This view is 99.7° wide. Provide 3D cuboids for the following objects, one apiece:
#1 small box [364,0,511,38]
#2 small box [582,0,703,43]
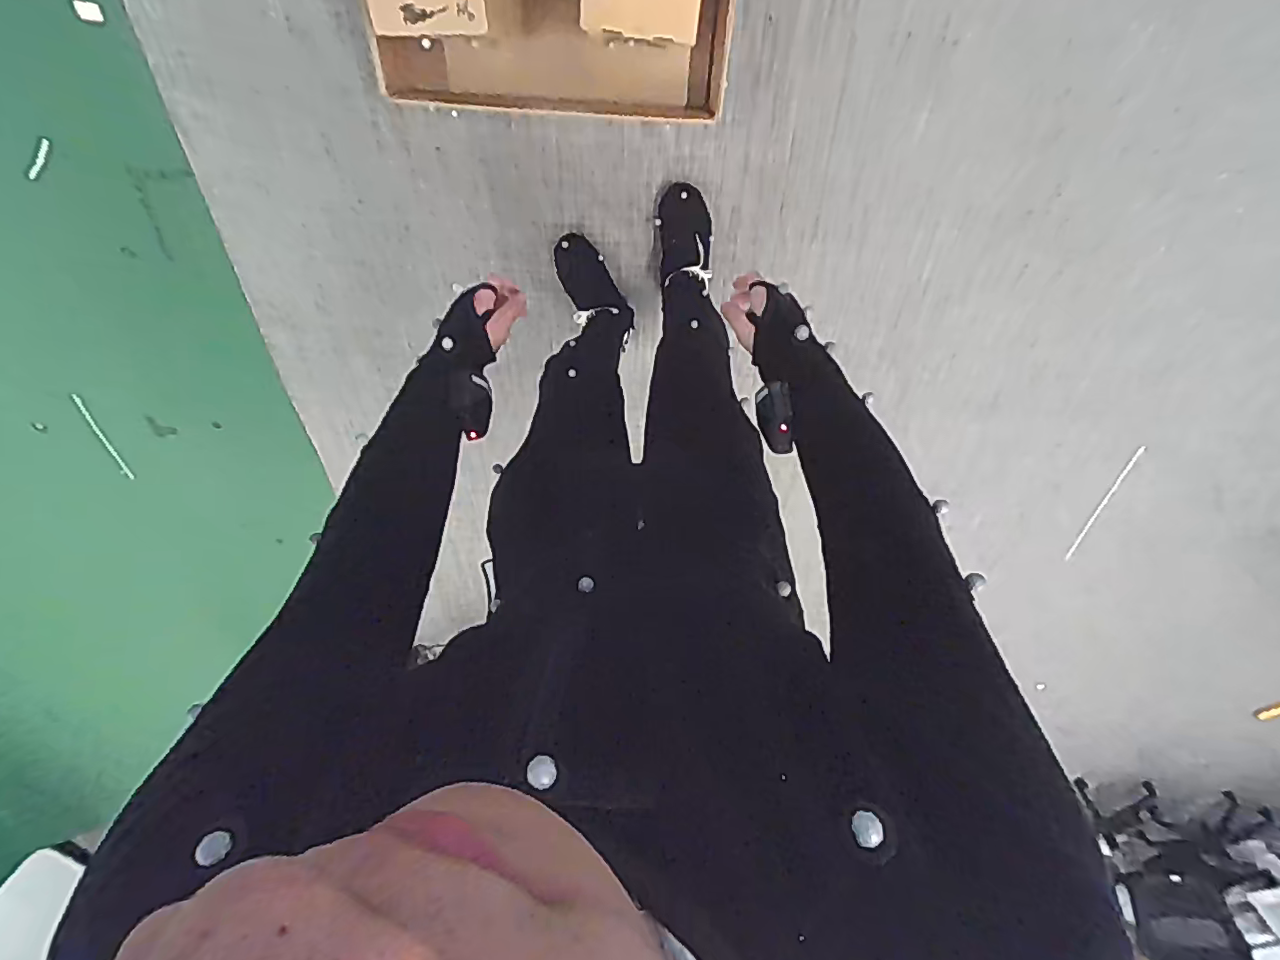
[{"bbox_3d":[-0.290,-0.745,0.764,0.168,0.176,0.179,2,128,2],"label":"small box"},{"bbox_3d":[0.010,-0.740,0.763,0.168,0.176,0.179,6,130,-4],"label":"small box"}]
